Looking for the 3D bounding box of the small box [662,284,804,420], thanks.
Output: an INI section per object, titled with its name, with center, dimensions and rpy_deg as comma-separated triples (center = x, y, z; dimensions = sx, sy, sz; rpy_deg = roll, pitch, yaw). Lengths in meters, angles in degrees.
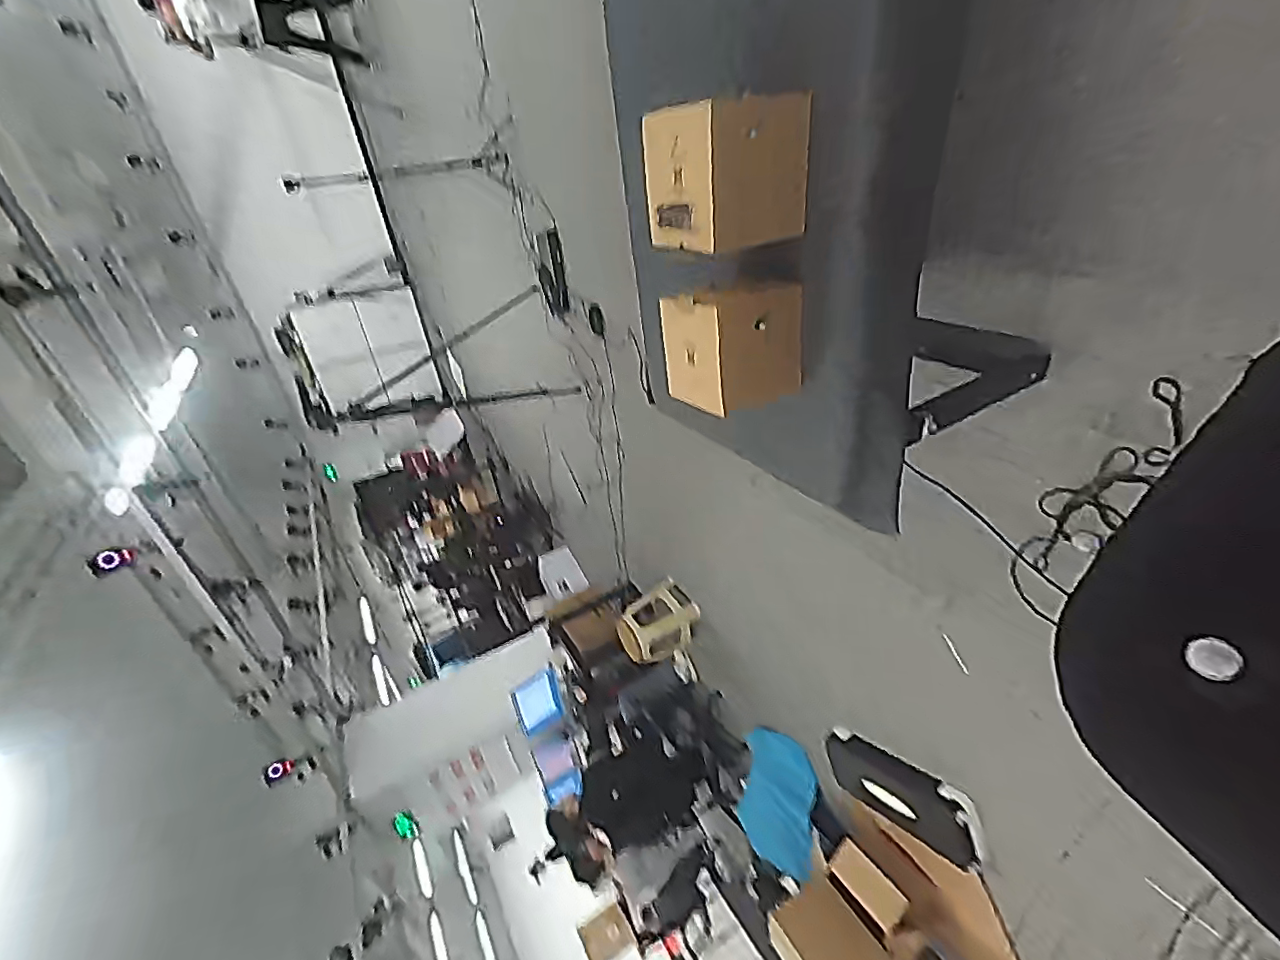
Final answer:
[small box]
center = 0.159, -0.224, 0.908
dimensions = 0.168, 0.176, 0.179
rpy_deg = 36, 142, 54
